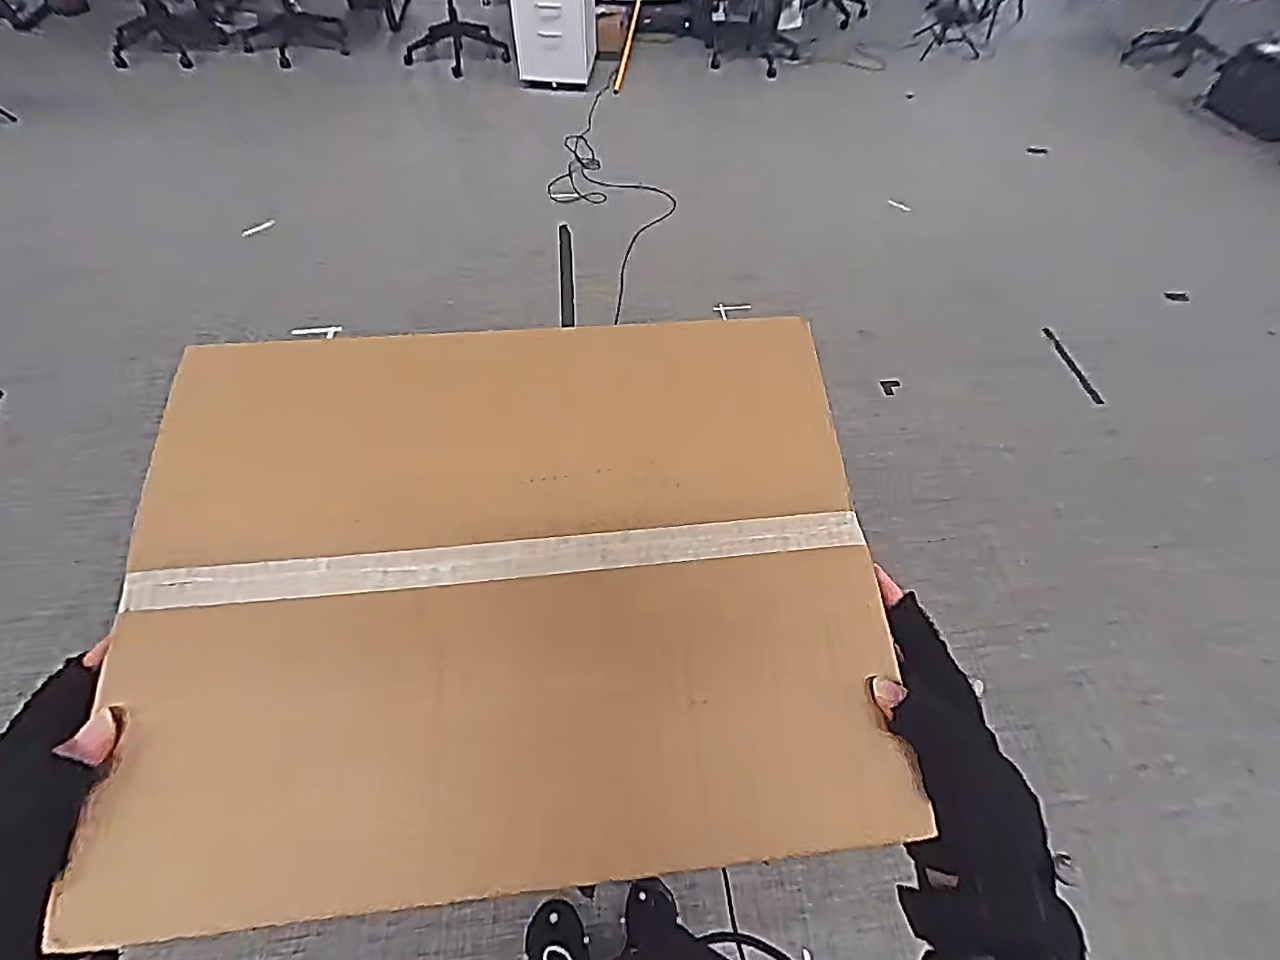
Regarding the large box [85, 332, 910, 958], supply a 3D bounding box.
[{"bbox_3d":[-0.078,0.108,0.450,0.408,0.320,0.320,-5,68,-4],"label":"large box"}]
